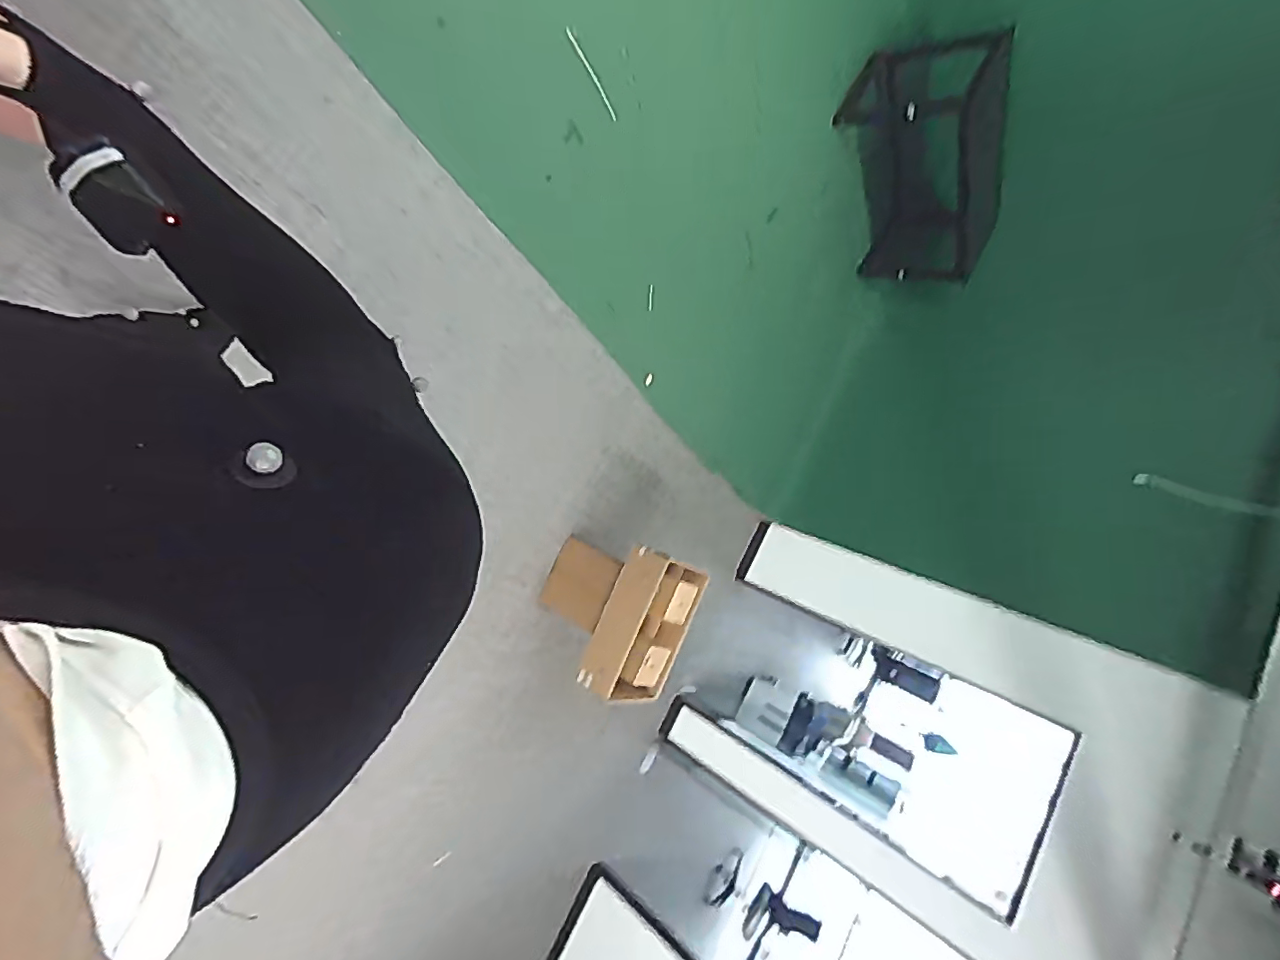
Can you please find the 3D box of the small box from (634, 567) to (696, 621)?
[{"bbox_3d":[0.103,0.480,2.286,0.179,0.176,0.168,30,82,-54],"label":"small box"}]
